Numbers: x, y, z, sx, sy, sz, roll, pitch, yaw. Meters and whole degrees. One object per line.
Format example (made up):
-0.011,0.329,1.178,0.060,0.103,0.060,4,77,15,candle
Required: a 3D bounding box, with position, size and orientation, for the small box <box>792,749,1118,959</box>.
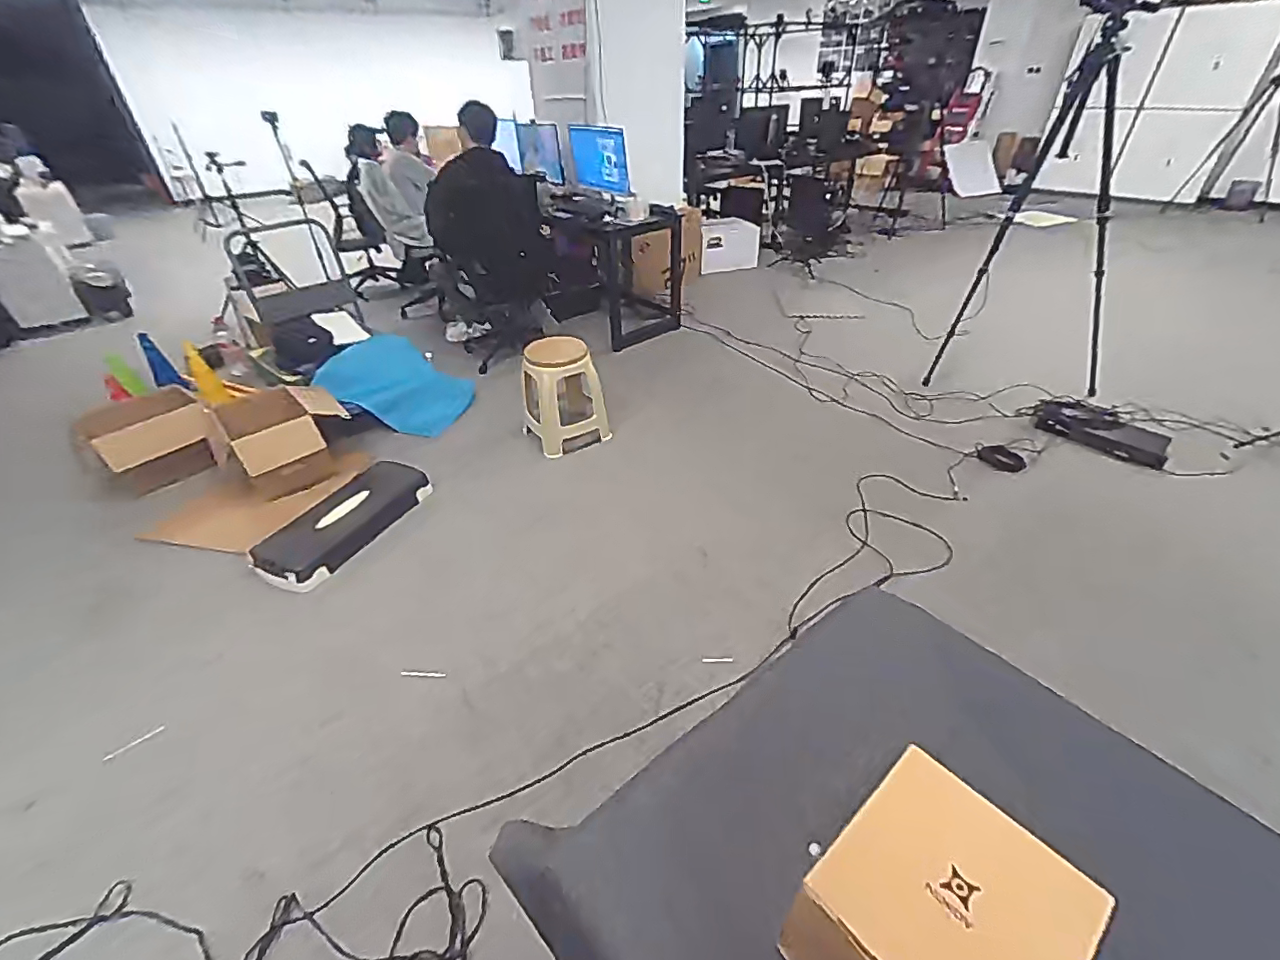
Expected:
0.252,0.387,0.468,0.179,0.176,0.168,-28,44,-31,small box
